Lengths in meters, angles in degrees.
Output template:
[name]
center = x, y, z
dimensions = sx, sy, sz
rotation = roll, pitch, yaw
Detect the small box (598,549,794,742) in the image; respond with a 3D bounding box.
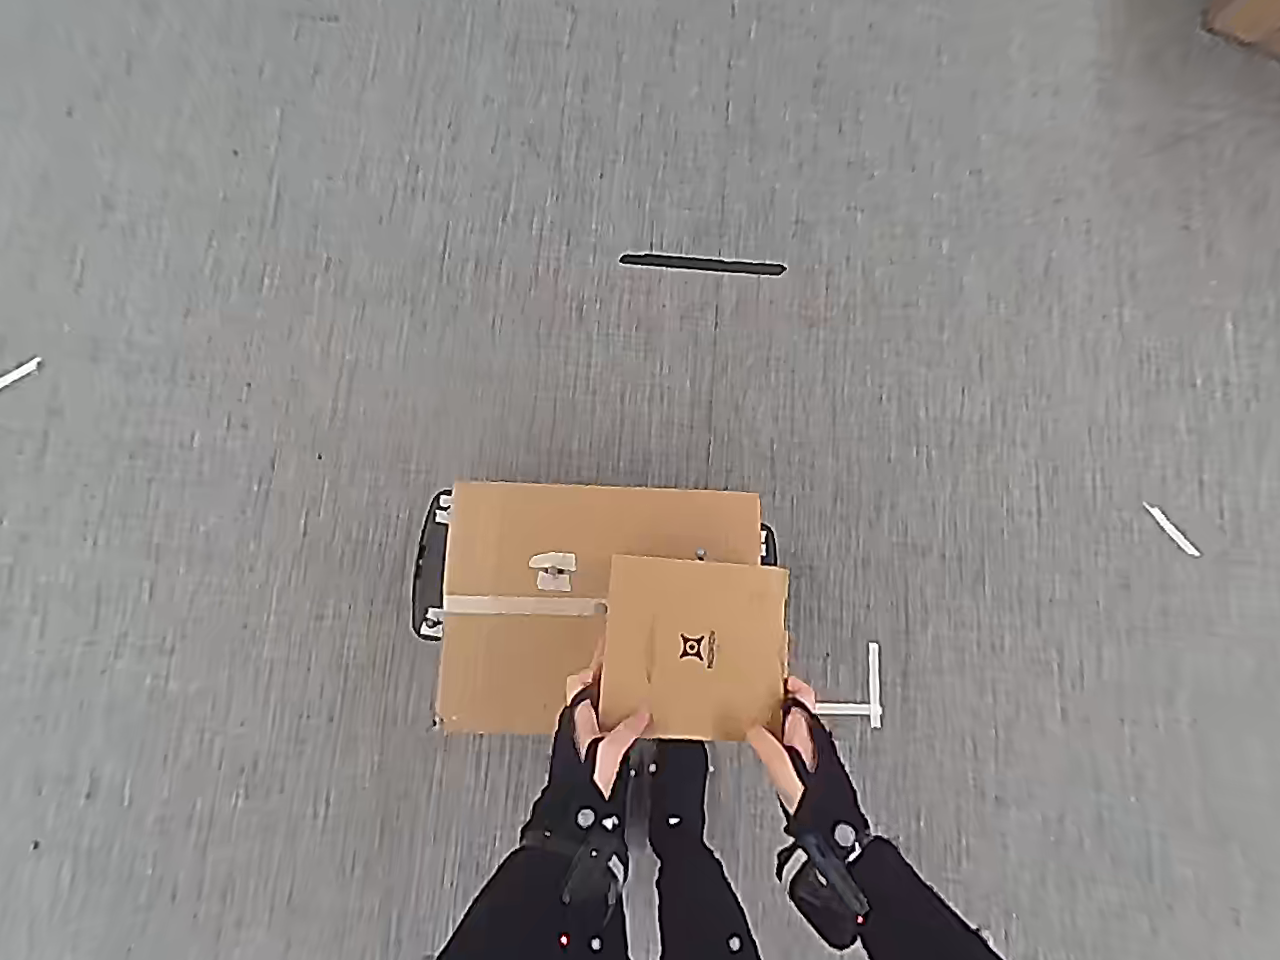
[small box]
center = 0.052, 0.166, 0.587
dimensions = 0.179, 0.176, 0.168
rotation = 6, 81, -1

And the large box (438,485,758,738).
[large box]
center = -0.049, 0.181, 0.831
dimensions = 0.408, 0.320, 0.320
rotation = 2, 81, -1
